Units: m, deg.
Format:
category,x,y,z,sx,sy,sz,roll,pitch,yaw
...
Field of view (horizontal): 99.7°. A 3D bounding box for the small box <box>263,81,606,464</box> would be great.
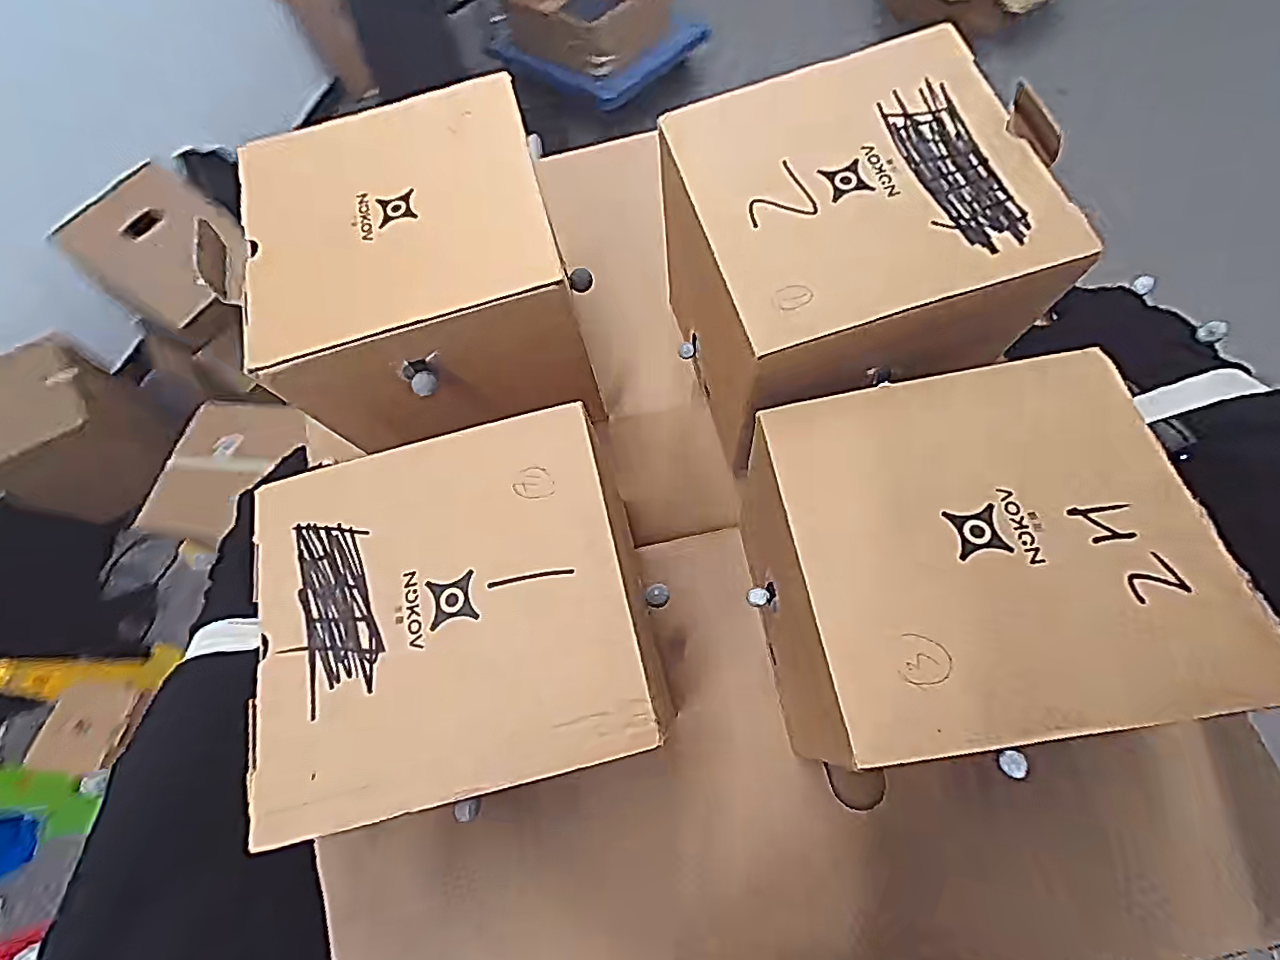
category,x,y,z,sx,sy,sz,roll,pitch,yaw
small box,-0.128,-0.130,0.391,0.179,0.176,0.168,-16,70,1
